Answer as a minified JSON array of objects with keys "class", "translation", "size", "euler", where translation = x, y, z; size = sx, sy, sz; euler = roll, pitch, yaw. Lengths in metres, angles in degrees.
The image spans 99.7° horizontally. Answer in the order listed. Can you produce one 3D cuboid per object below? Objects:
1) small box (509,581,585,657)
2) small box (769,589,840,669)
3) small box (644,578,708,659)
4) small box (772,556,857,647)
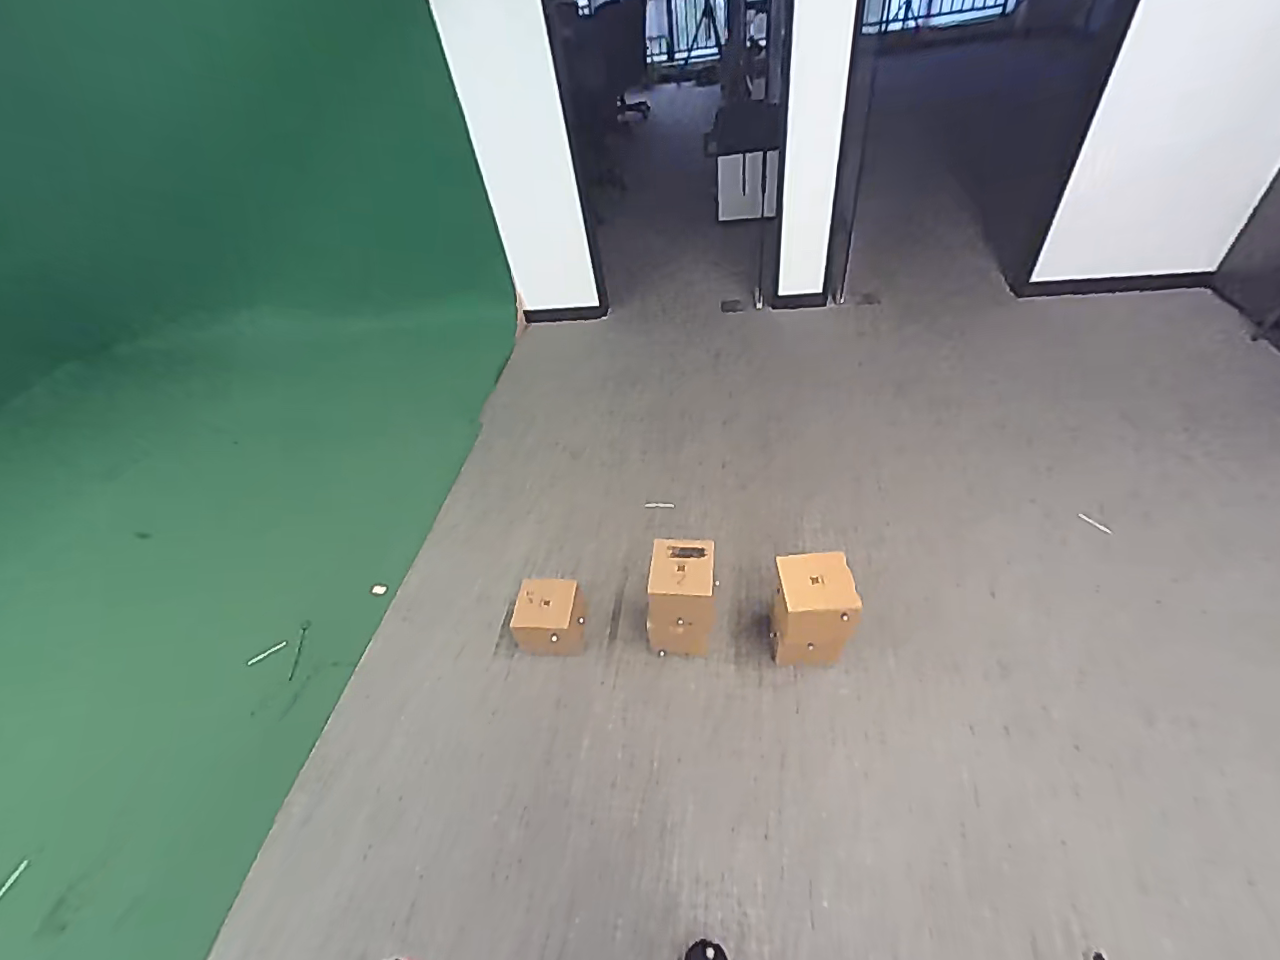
[{"class":"small box","translation":[-0.273,0.425,1.645],"size":[0.179,0.176,0.168],"euler":[0,45,9]},{"class":"small box","translation":[0.459,0.420,1.523],"size":[0.179,0.176,0.168],"euler":[-1,46,8]},{"class":"small box","translation":[0.113,0.410,1.593],"size":[0.168,0.176,0.179],"euler":[0,45,10]},{"class":"small box","translation":[0.441,0.318,1.398],"size":[0.179,0.176,0.168],"euler":[-5,45,4]}]
